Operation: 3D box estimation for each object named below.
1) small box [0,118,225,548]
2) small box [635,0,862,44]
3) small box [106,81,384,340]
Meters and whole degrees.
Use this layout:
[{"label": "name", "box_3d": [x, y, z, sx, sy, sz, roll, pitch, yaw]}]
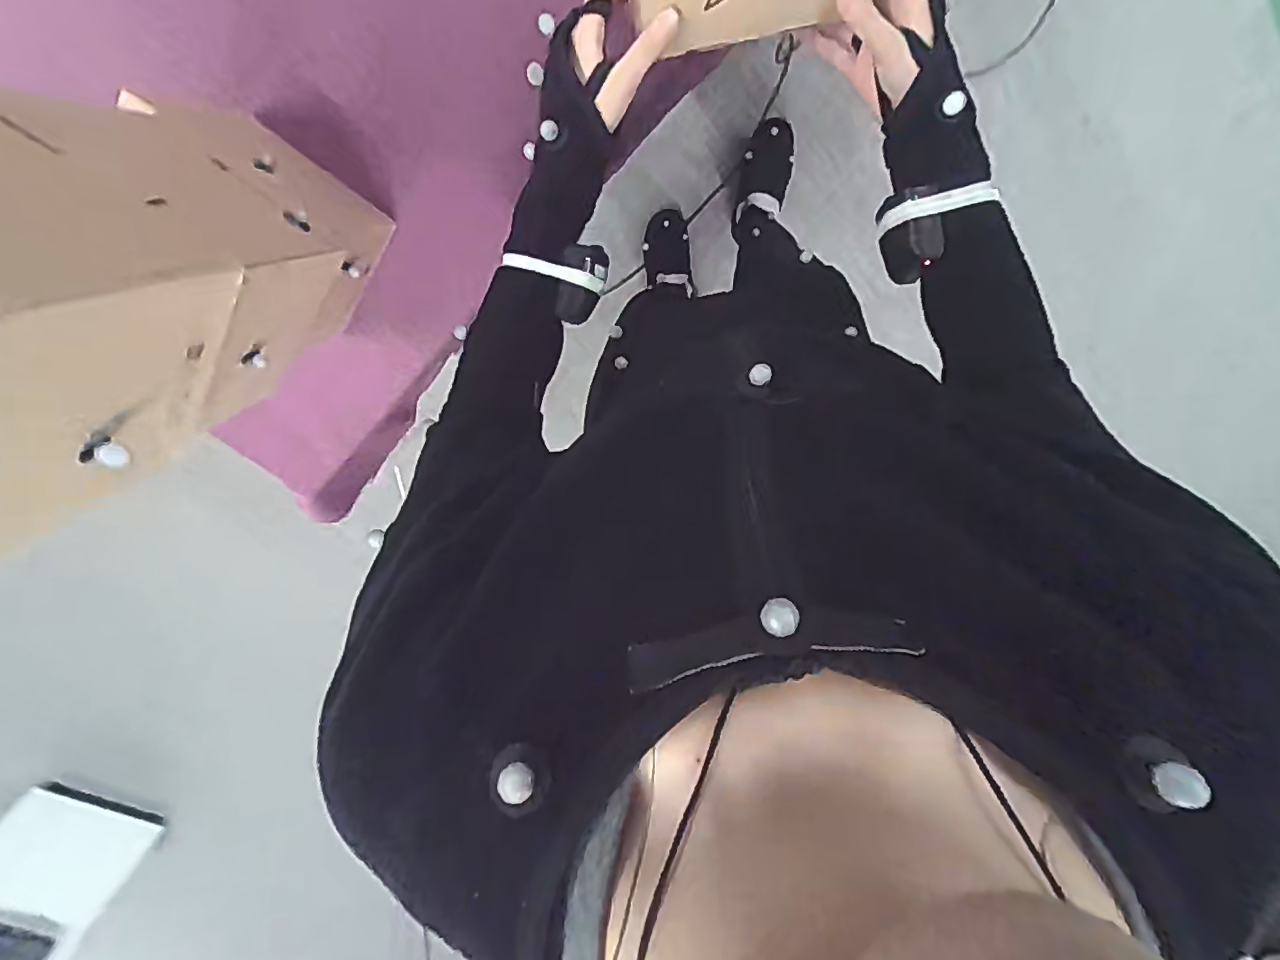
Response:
[{"label": "small box", "box_3d": [-0.372, -0.087, 0.282, 0.179, 0.176, 0.168, 31, 113, -15]}, {"label": "small box", "box_3d": [0.063, -0.442, 0.363, 0.168, 0.176, 0.179, -9, 150, 0]}, {"label": "small box", "box_3d": [-0.404, -0.260, 0.559, 0.179, 0.176, 0.168, 35, 112, -16]}]
